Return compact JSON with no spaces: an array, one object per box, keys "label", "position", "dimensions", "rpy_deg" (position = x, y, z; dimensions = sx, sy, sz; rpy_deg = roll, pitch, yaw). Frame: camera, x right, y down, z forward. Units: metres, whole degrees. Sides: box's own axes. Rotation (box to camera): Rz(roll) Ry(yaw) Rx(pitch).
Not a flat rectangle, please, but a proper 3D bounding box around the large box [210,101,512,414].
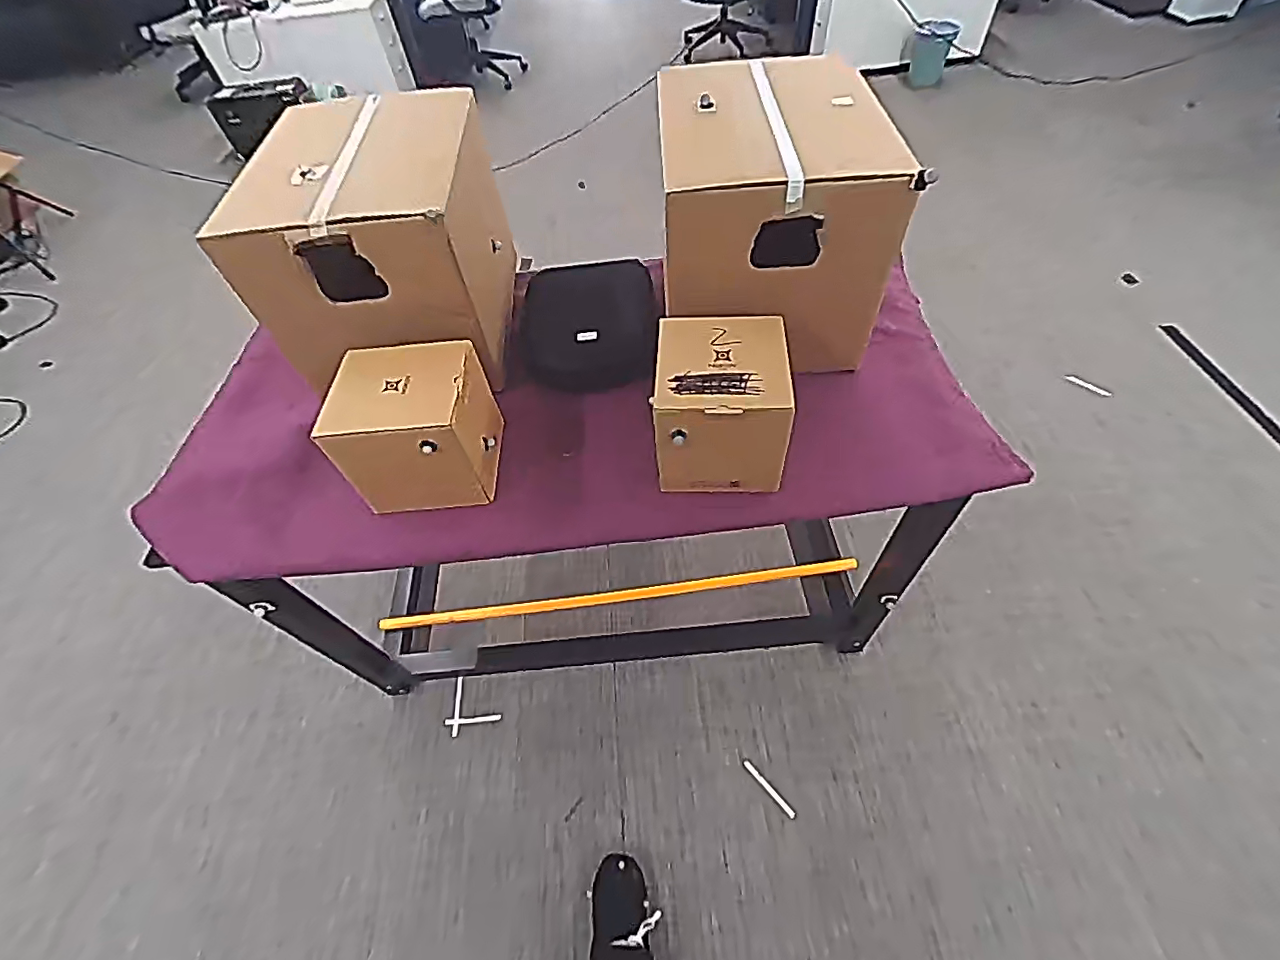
[{"label":"large box","position":[-0.406,-0.373,0.913],"dimensions":[0.320,0.320,0.408],"rpy_deg":[-7,55,0]}]
